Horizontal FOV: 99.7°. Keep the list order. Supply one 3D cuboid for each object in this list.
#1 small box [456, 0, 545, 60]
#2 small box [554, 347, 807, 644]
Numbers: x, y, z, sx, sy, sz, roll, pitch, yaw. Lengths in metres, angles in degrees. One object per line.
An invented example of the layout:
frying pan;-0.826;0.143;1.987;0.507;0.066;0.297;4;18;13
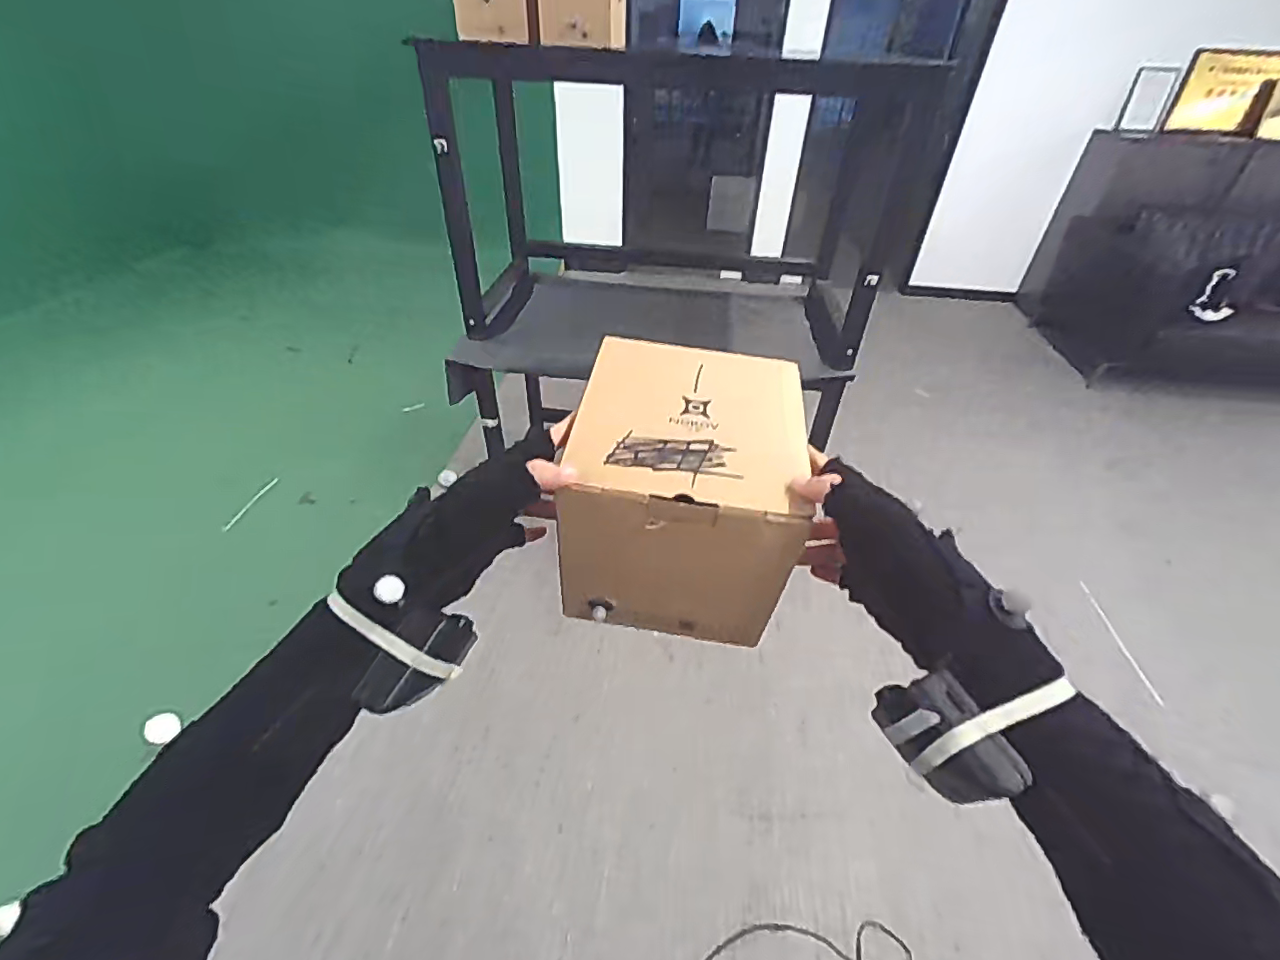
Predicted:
small box;-0.324;-1.102;1.274;0.168;0.176;0.179;6;39;3
small box;0.033;0.015;0.455;0.168;0.176;0.179;9;45;3
